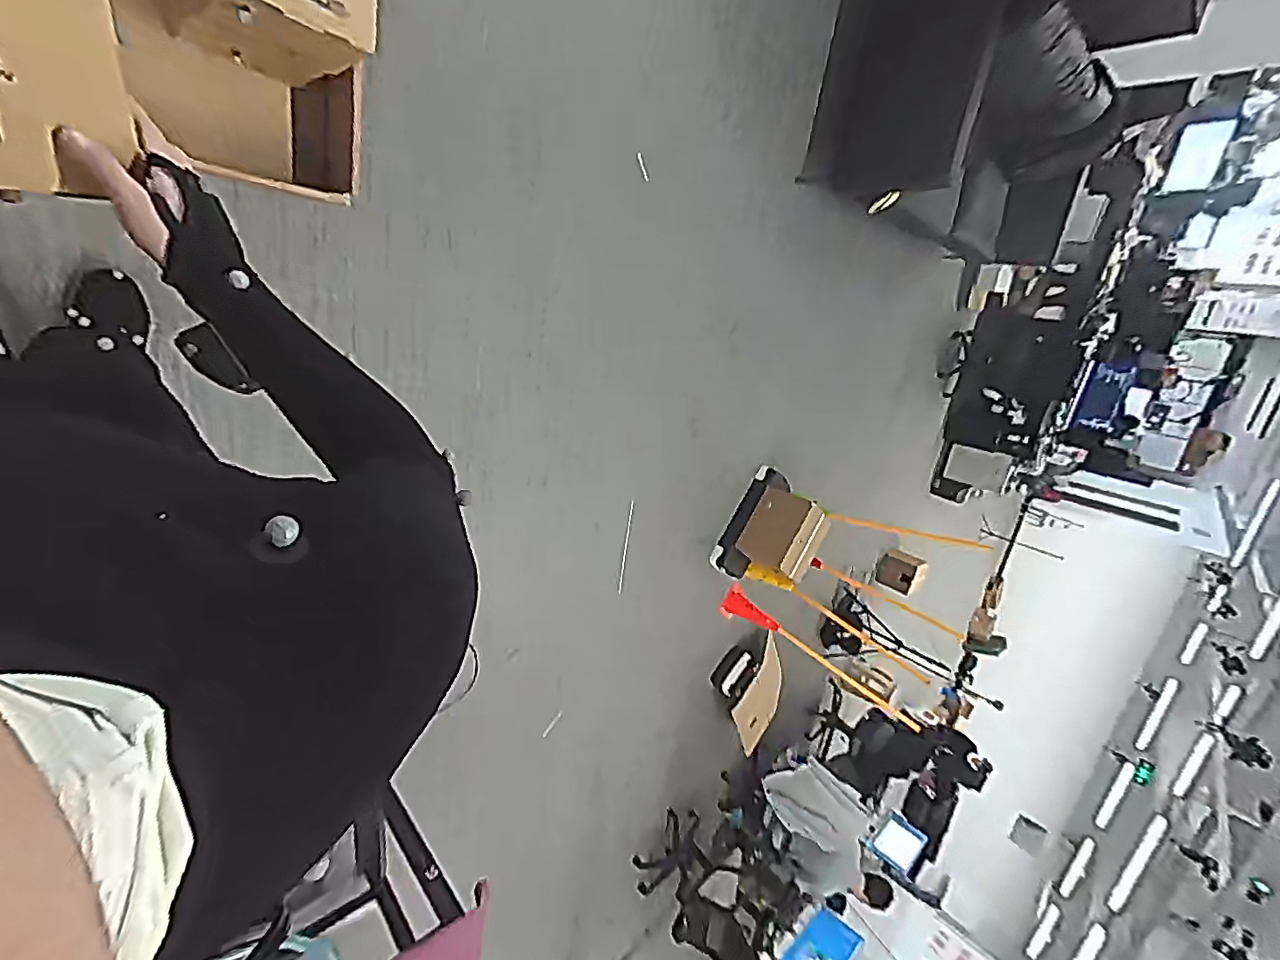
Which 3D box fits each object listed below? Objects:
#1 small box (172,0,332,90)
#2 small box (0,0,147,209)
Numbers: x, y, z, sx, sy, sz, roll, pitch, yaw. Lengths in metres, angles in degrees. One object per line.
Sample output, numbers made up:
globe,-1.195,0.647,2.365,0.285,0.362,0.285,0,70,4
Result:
small box,-0.566,-0.709,0.786,0.168,0.176,0.179,-6,113,-46
small box,-0.524,-0.324,0.421,0.168,0.176,0.179,-17,124,-44
